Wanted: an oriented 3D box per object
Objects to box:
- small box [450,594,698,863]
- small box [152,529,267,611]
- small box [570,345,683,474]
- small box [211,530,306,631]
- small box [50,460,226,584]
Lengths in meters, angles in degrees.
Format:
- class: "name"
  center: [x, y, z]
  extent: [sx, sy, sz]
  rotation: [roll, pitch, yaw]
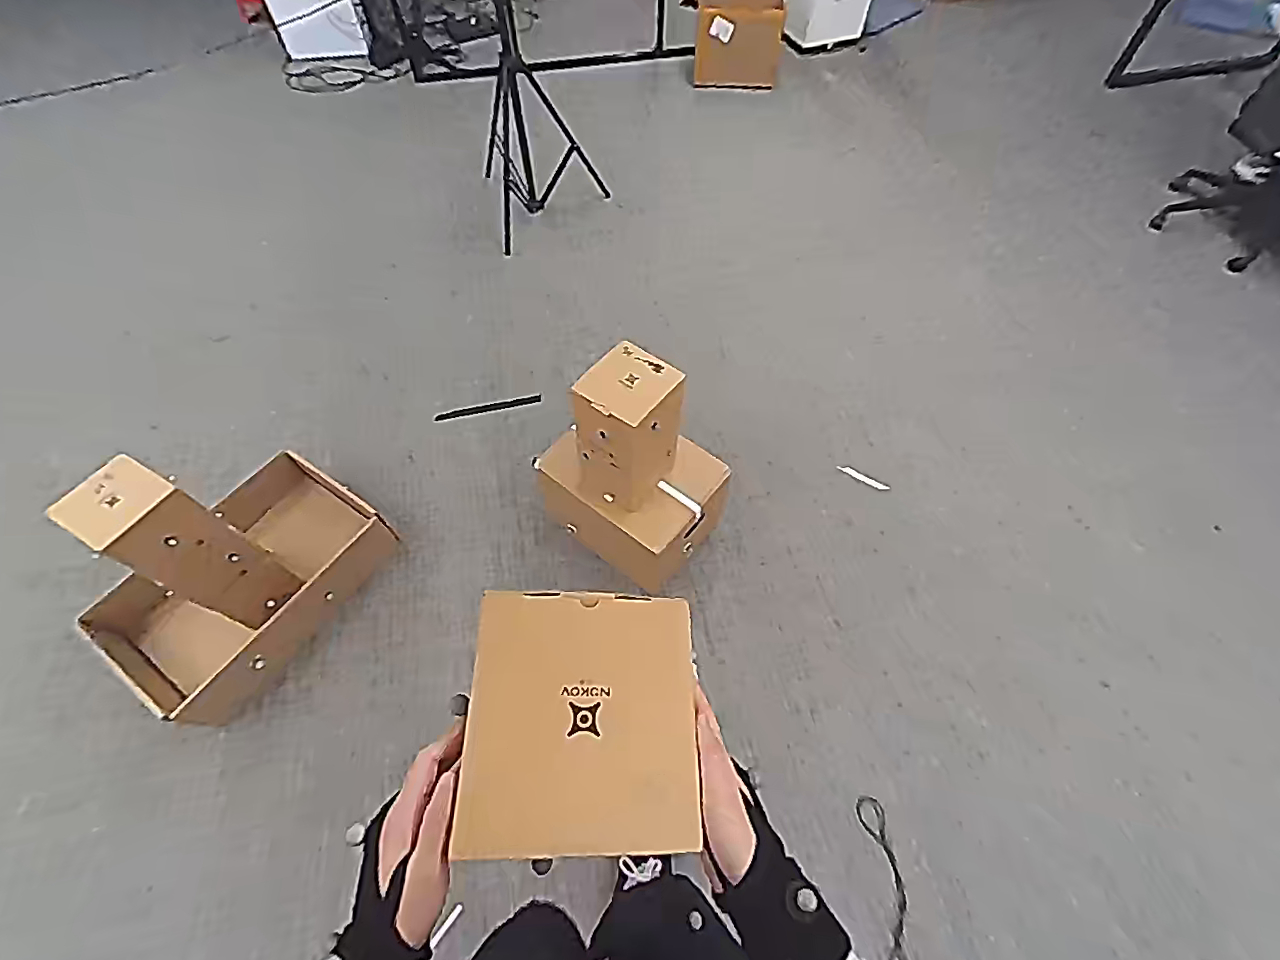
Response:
- class: "small box"
  center: [-0.054, 0.210, 0.462]
  extent: [0.168, 0.176, 0.179]
  rotation: [4, 59, -9]
- class: "small box"
  center: [-1.034, 0.185, 1.267]
  extent: [0.179, 0.176, 0.168]
  rotation: [25, 61, 16]
- class: "small box"
  center: [-0.024, -0.145, 1.152]
  extent: [0.168, 0.176, 0.179]
  rotation: [34, 65, 18]
- class: "small box"
  center: [-1.028, 0.267, 1.407]
  extent: [0.179, 0.176, 0.168]
  rotation: [30, 63, 16]
- class: "small box"
  center: [-1.030, 0.095, 1.129]
  extent: [0.179, 0.176, 0.168]
  rotation: [25, 60, 14]
